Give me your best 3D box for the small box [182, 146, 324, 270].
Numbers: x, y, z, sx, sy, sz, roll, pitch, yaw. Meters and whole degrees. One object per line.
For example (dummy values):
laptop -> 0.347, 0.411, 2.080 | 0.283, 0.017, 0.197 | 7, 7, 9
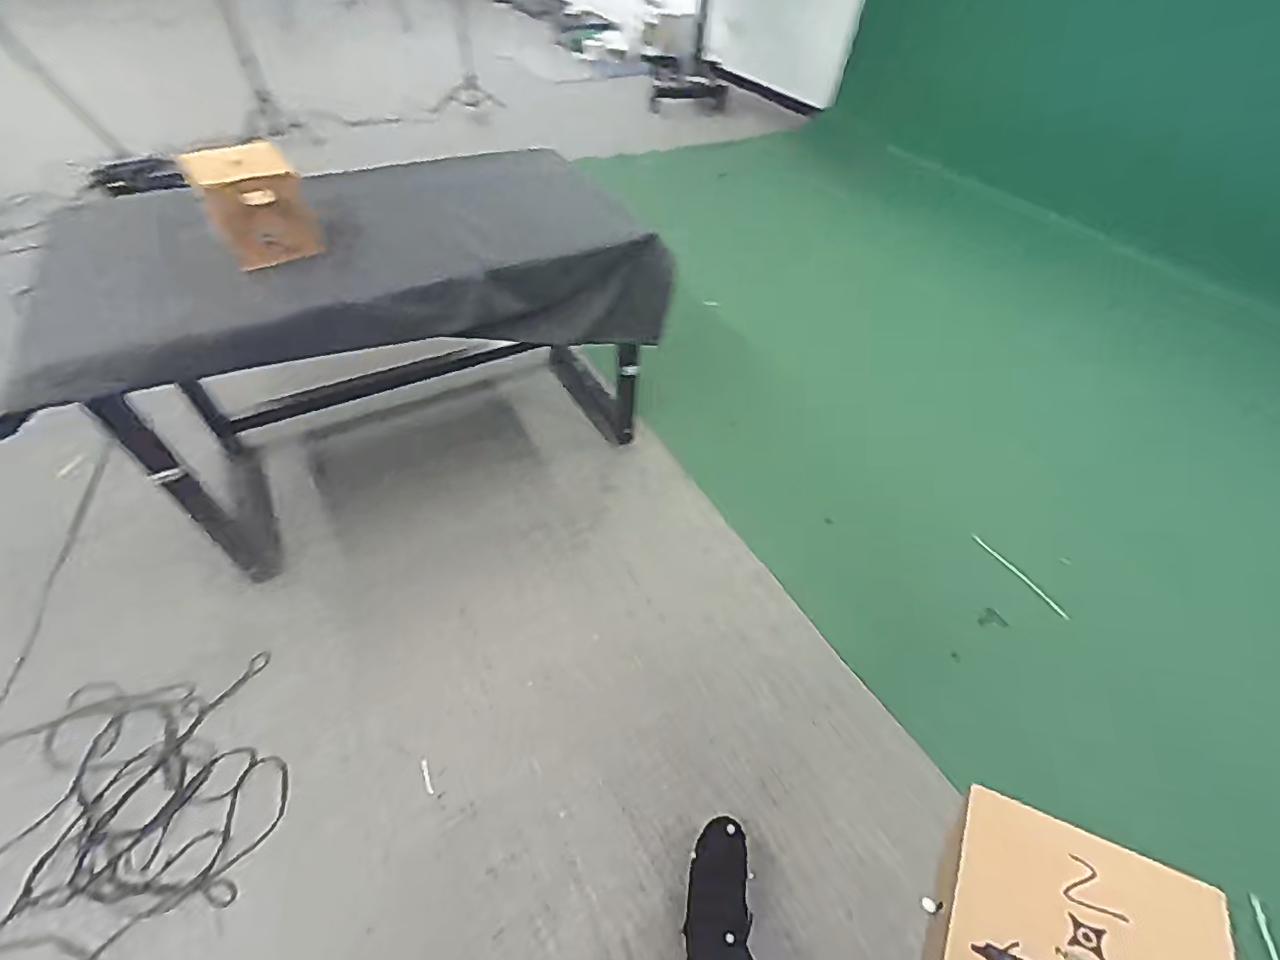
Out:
small box -> -0.785, -0.557, 1.110 | 0.168, 0.176, 0.179 | -29, 58, -27
